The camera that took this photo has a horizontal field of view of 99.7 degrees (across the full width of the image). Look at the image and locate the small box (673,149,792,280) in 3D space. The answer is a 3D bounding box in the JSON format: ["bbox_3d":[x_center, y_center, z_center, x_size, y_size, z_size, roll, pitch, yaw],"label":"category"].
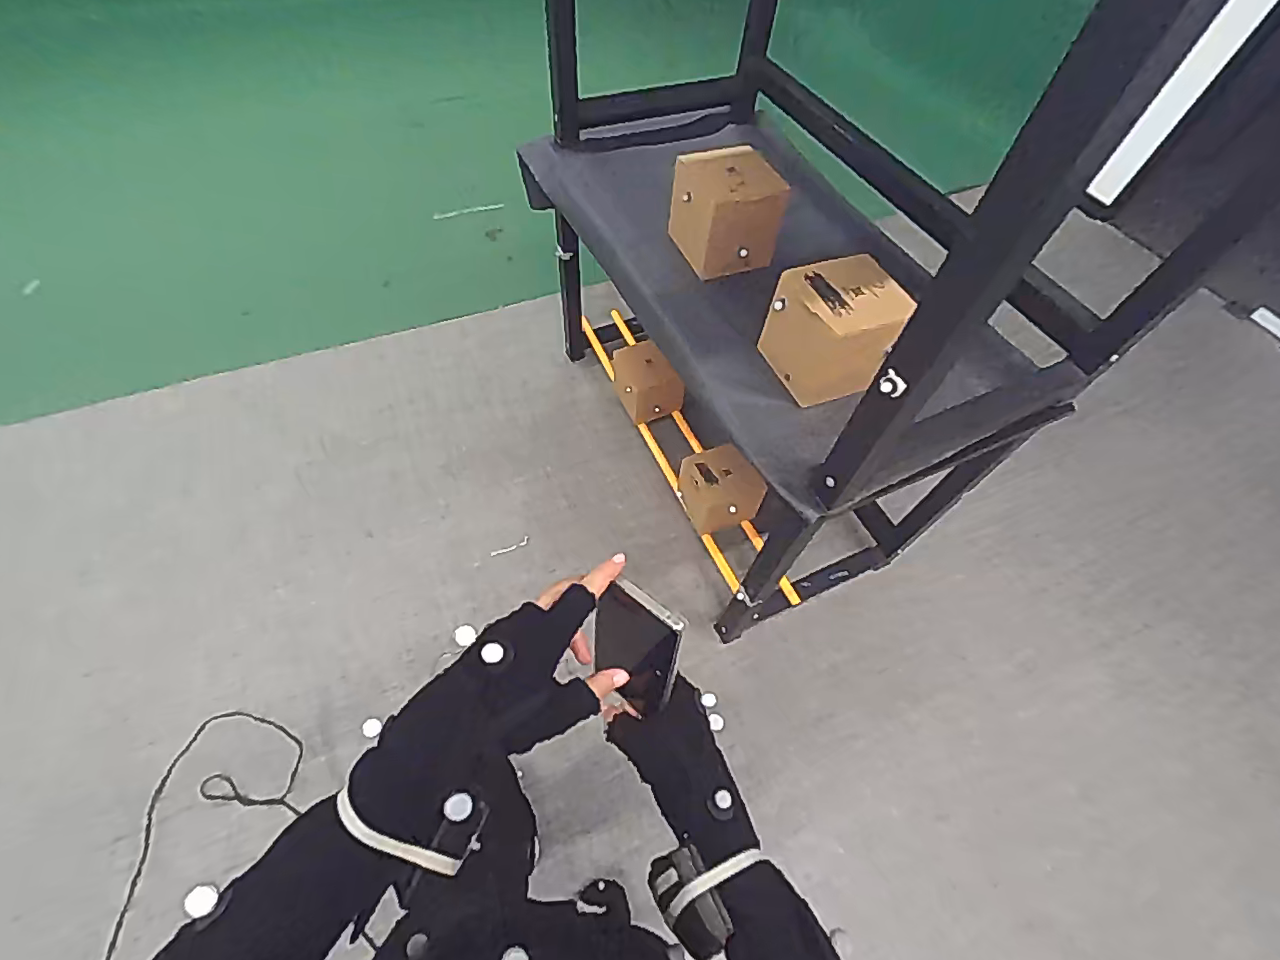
[{"bbox_3d":[0.178,-0.541,1.108,0.168,0.176,0.179,-17,60,-14],"label":"small box"}]

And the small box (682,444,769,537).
[{"bbox_3d":[0.224,0.034,1.481,0.179,0.176,0.168,-17,60,-14],"label":"small box"}]
